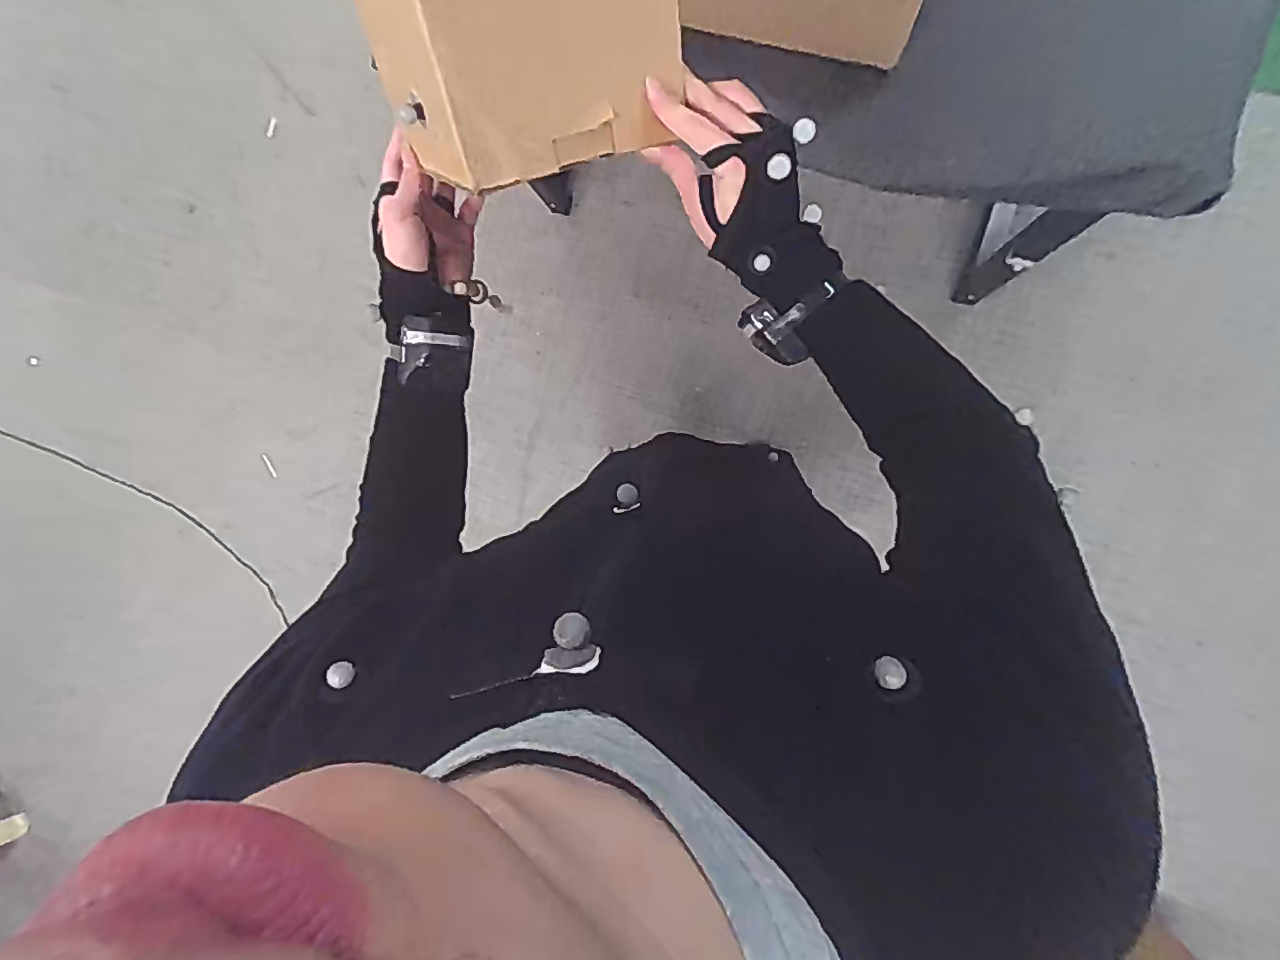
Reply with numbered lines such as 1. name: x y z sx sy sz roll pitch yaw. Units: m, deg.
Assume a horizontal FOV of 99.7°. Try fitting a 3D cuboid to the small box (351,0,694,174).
1. small box: -0.086 -0.316 0.341 0.168 0.176 0.179 -27 44 -20
